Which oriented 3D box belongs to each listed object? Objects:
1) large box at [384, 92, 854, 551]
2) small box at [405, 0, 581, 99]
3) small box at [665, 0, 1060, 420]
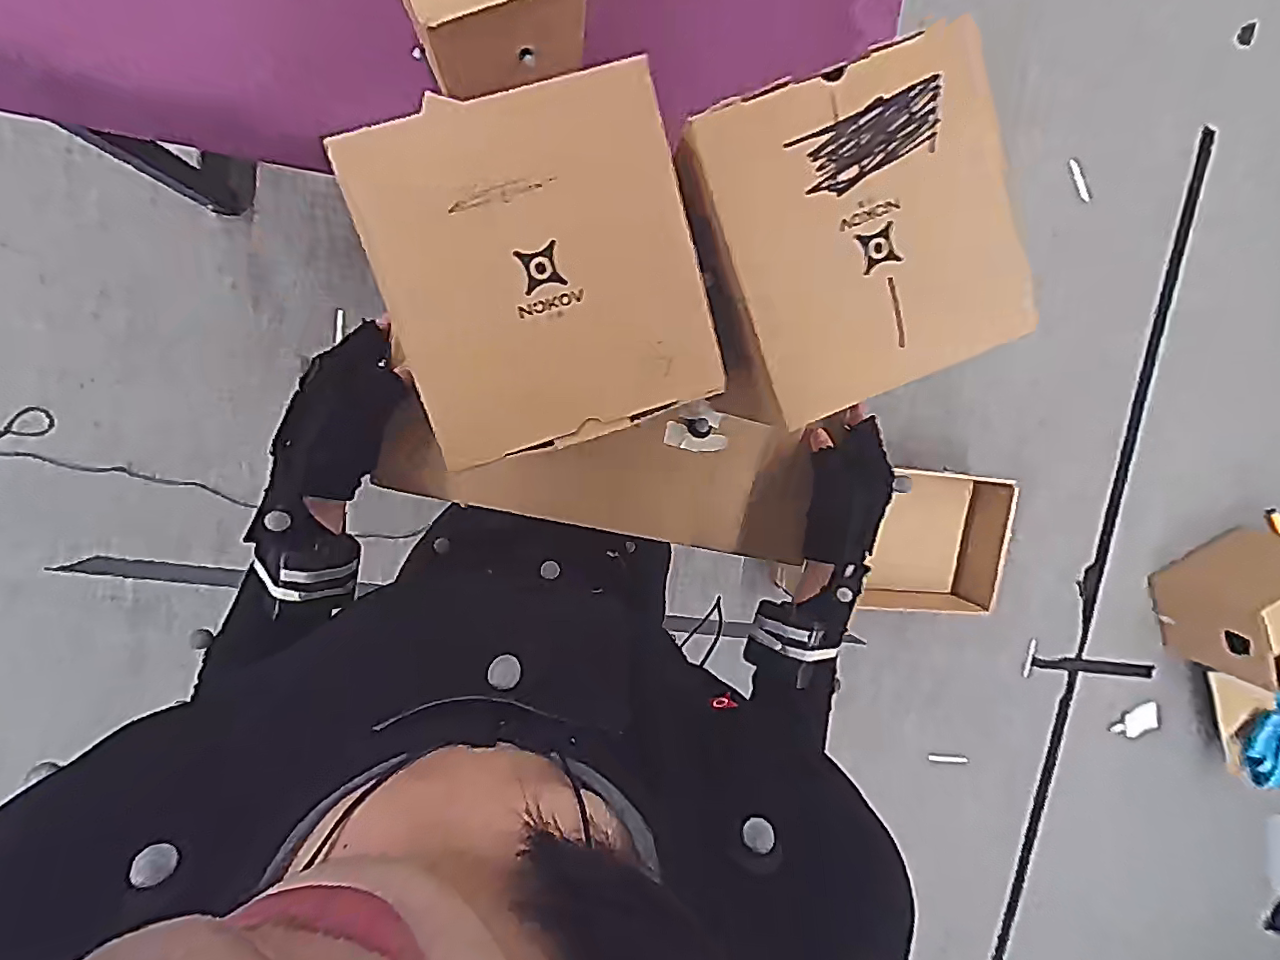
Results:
[{"bbox_3d":[-0.015,-0.140,0.604,0.408,0.320,0.320,11,101,-10],"label":"large box"},{"bbox_3d":[-0.170,-0.552,0.576,0.179,0.176,0.168,-24,100,-5],"label":"small box"},{"bbox_3d":[0.127,-0.153,0.367,0.168,0.176,0.179,-21,103,-2],"label":"small box"}]
